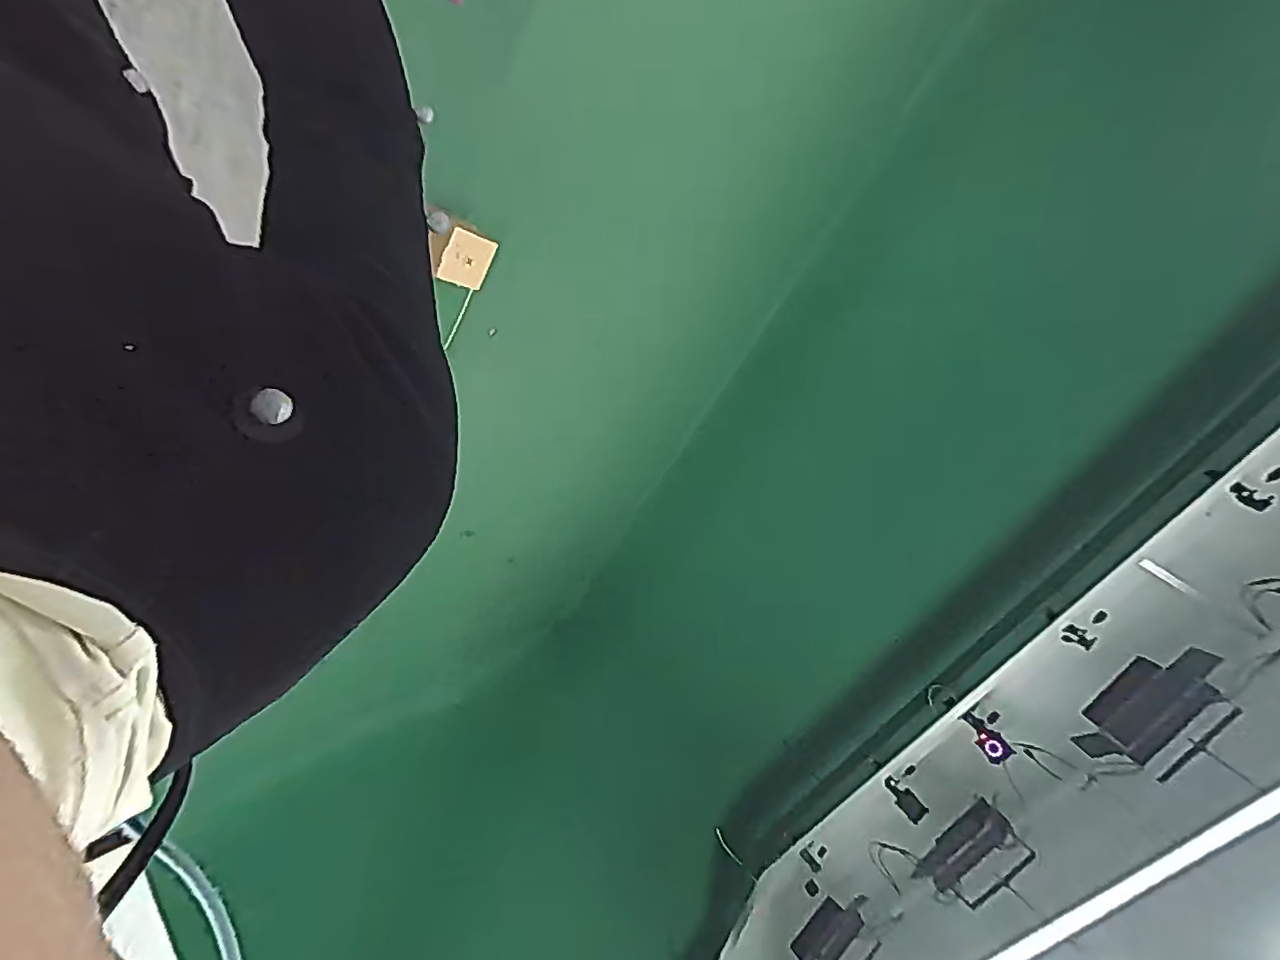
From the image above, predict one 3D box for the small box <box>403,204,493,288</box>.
[{"bbox_3d":[-0.608,-0.741,1.711,0.179,0.176,0.168,-6,133,-59],"label":"small box"}]
